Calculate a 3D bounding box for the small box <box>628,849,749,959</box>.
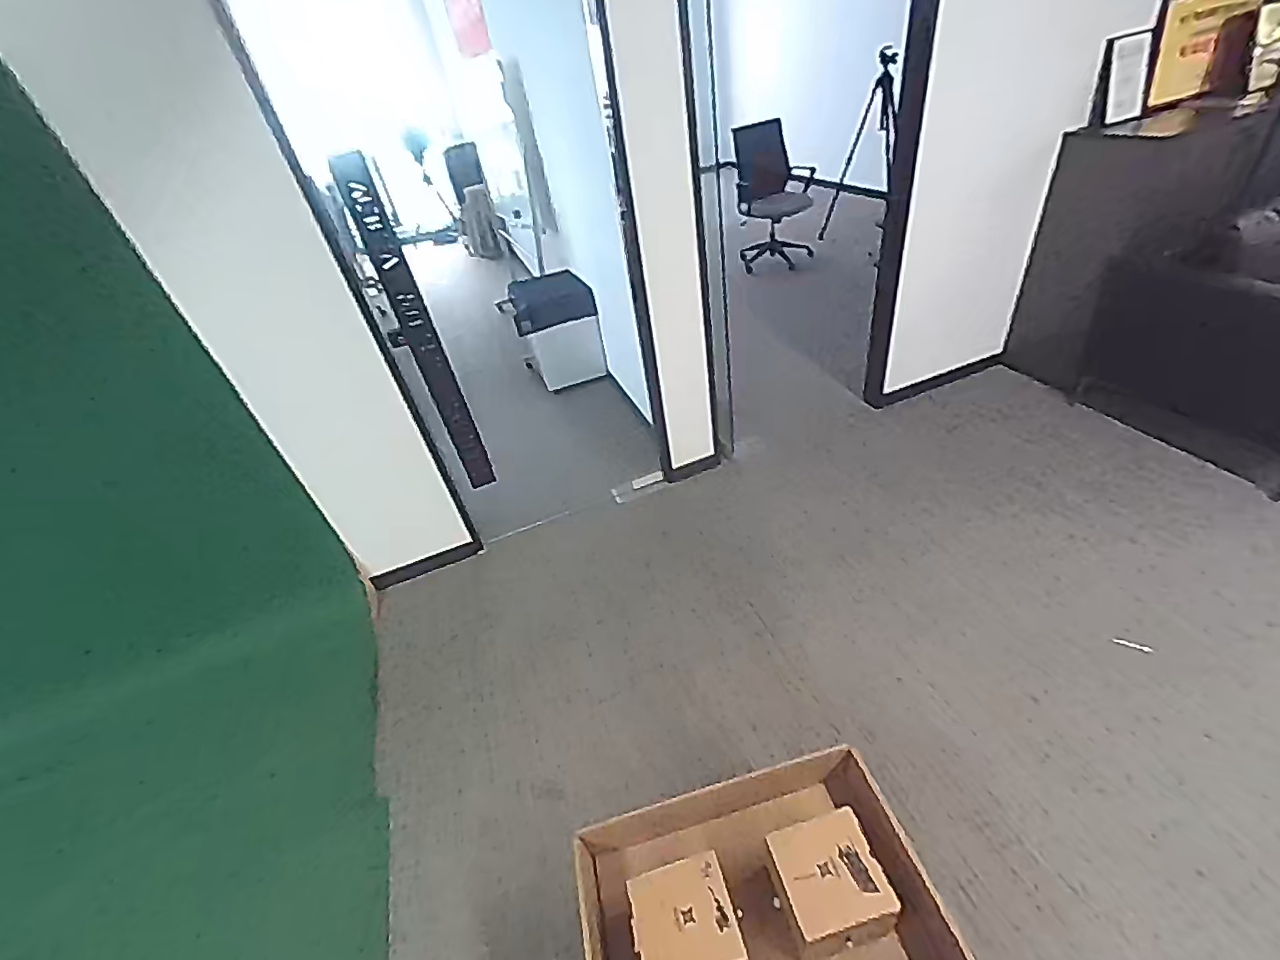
[{"bbox_3d":[0.091,0.818,0.985,0.179,0.176,0.168,-16,37,-4],"label":"small box"}]
